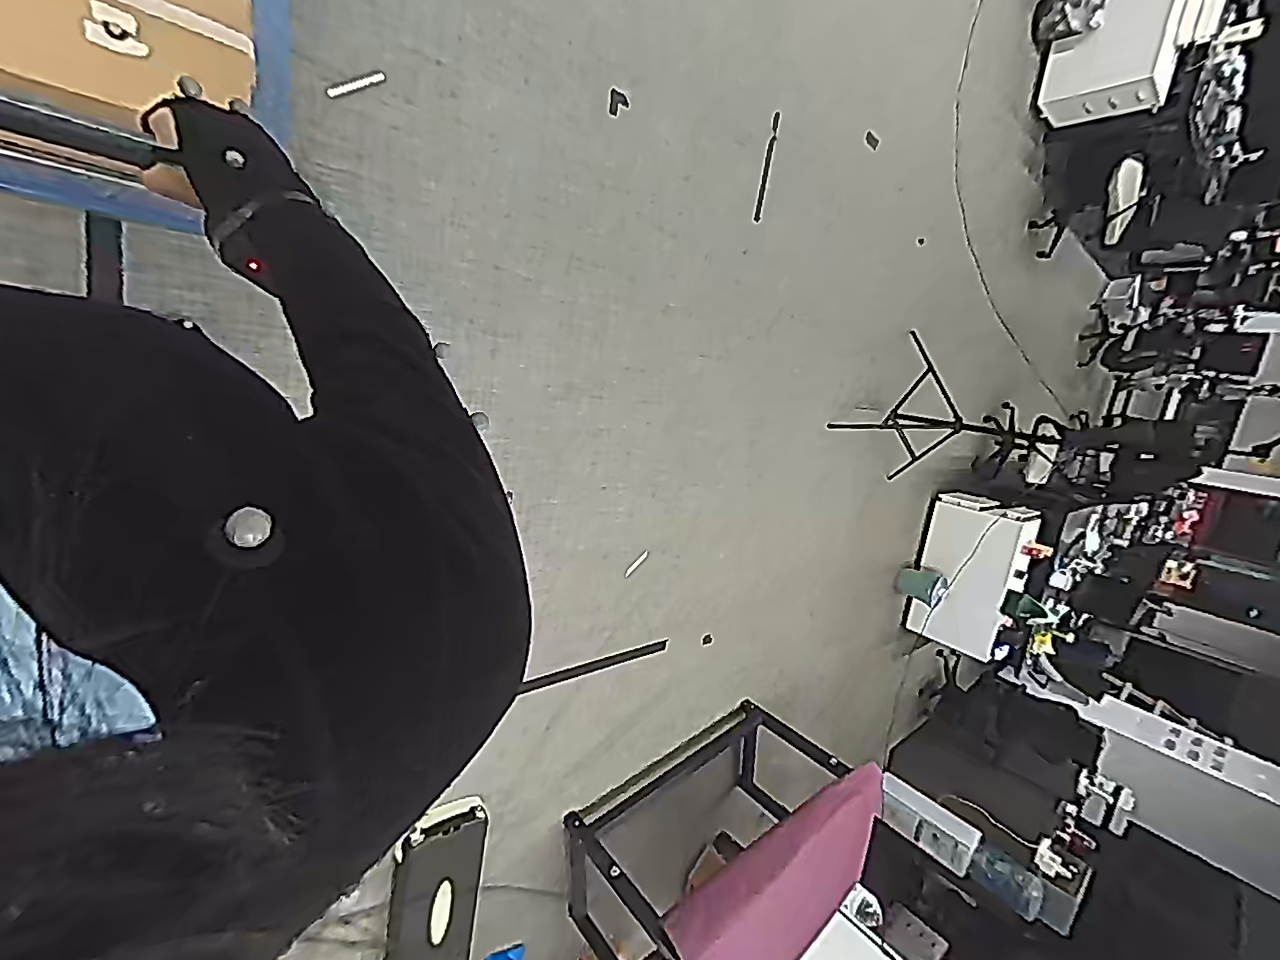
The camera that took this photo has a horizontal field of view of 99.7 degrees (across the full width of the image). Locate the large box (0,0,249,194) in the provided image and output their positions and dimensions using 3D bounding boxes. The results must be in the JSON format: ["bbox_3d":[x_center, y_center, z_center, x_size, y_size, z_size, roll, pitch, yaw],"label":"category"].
[{"bbox_3d":[-0.803,-0.637,0.740,0.408,0.320,0.320,-2,105,-42],"label":"large box"}]
